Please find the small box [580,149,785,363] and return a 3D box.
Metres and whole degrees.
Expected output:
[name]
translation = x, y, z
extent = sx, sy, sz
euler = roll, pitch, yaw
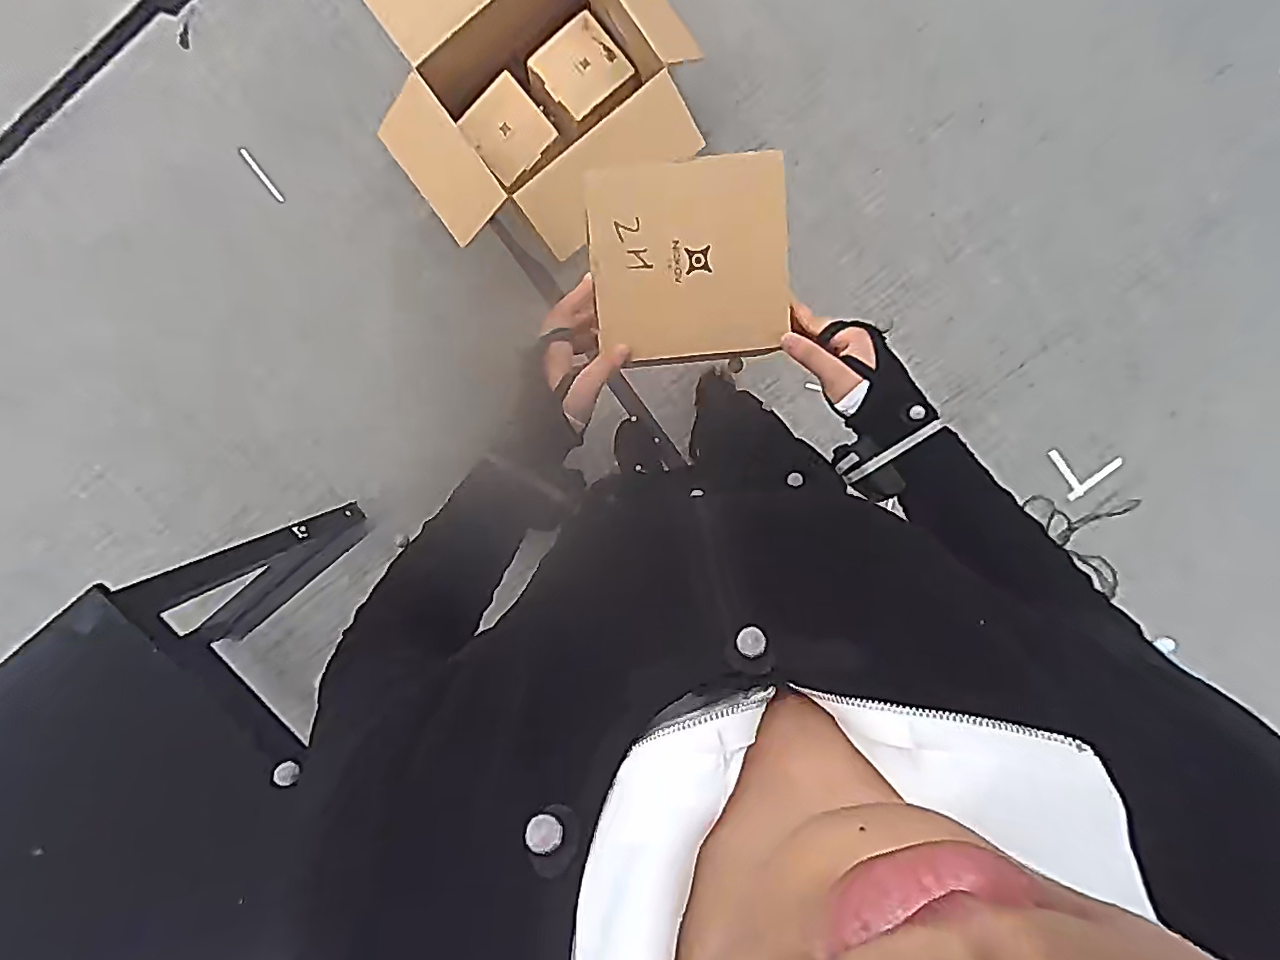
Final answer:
[small box]
translation = 0.040, -0.213, 0.559
extent = 0.179, 0.176, 0.168
euler = -5, 99, 2
